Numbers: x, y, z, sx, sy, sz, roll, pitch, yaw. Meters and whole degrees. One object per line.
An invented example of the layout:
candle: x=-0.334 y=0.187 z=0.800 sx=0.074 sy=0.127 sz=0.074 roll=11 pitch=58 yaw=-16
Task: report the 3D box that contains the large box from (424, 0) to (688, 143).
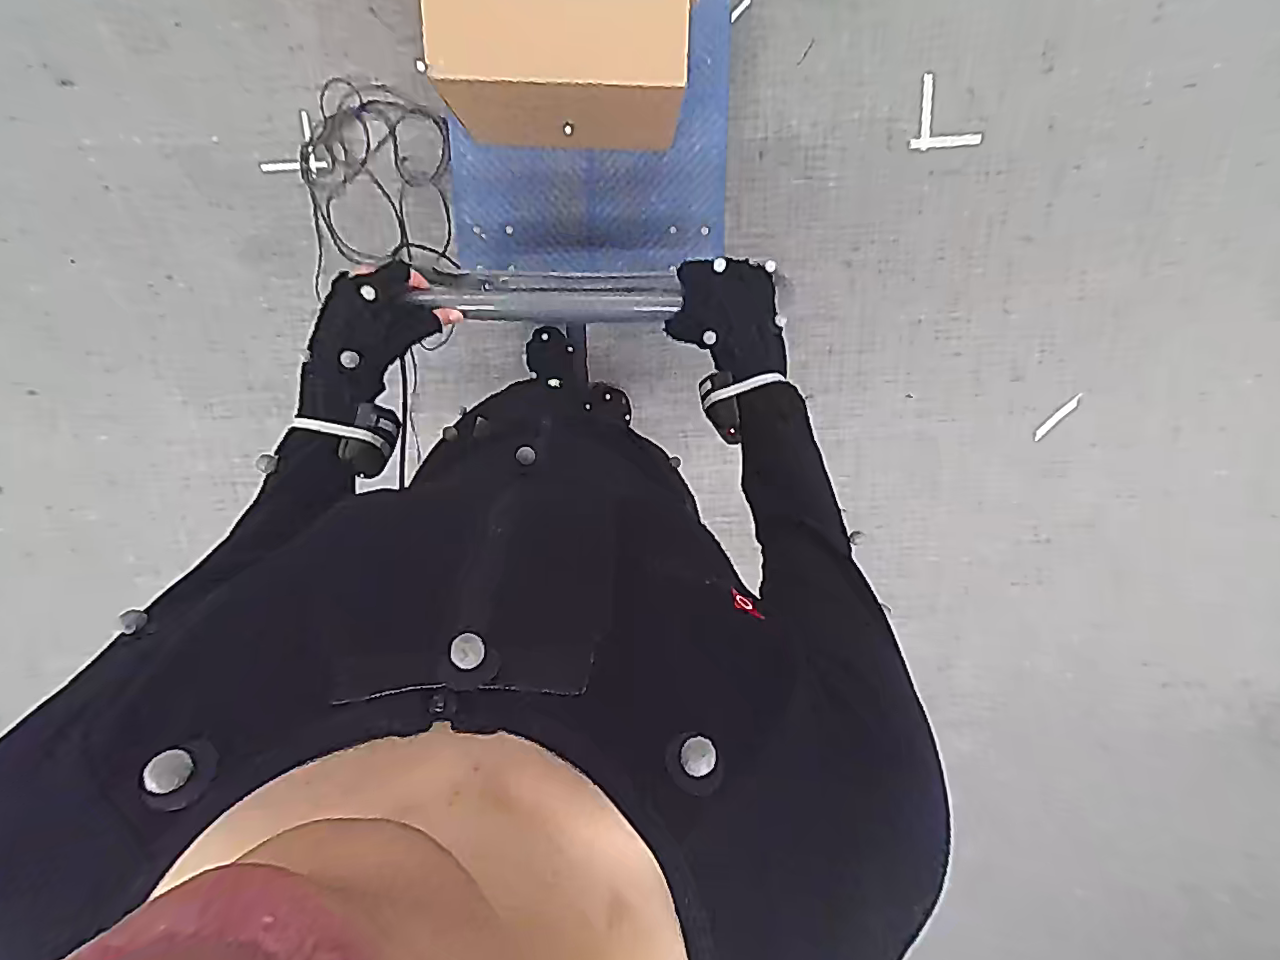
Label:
large box: x=-0.129 y=-0.809 z=0.944 sx=0.408 sy=0.320 sz=0.320 roll=1 pitch=105 yaw=-2
